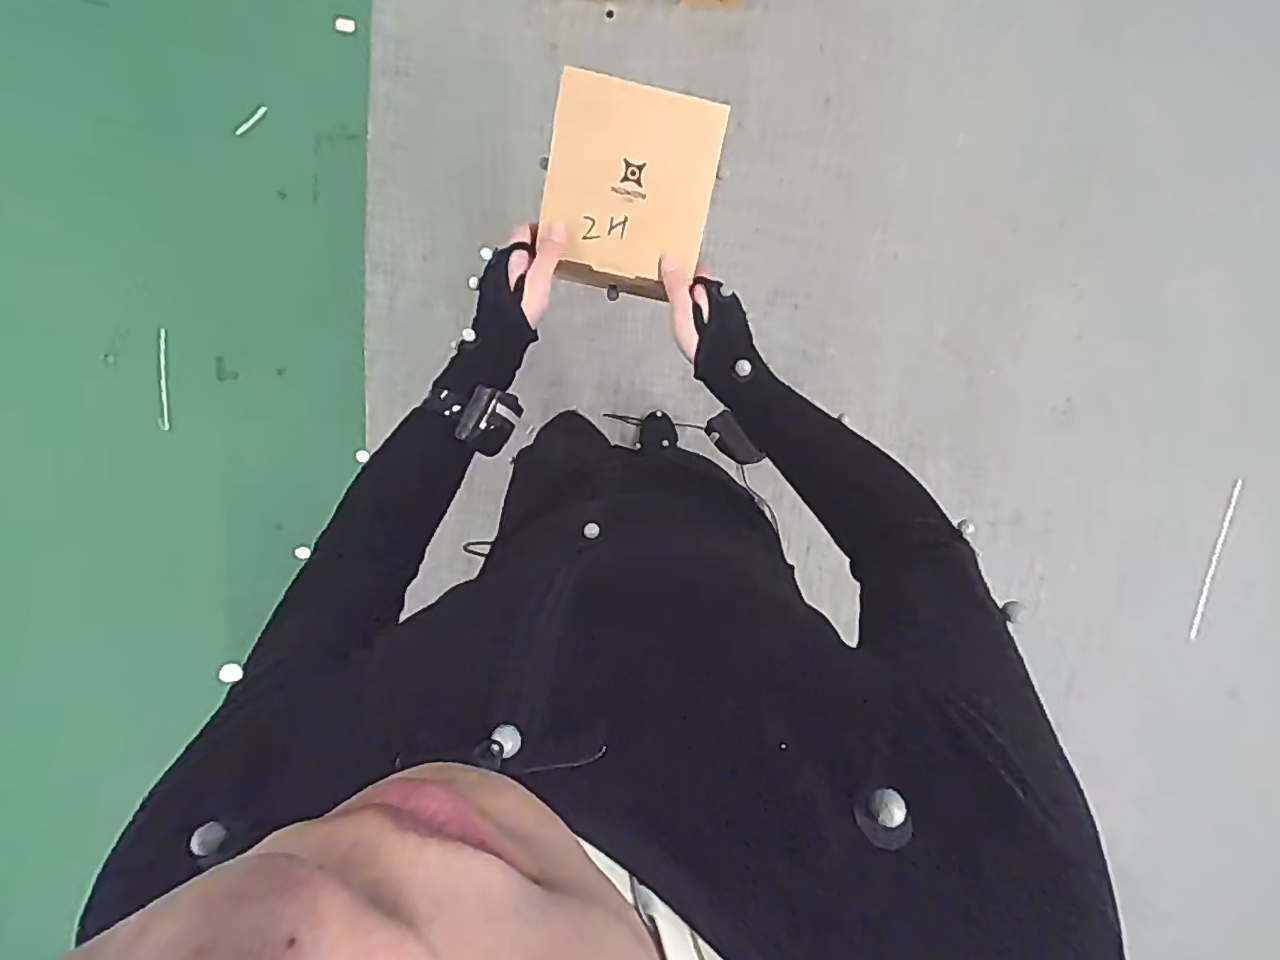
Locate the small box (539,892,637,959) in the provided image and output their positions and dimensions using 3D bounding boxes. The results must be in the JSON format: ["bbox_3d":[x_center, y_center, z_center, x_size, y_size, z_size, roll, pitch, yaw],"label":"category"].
[{"bbox_3d":[-0.098,0.914,0.991,0.168,0.176,0.179,6,101,4],"label":"small box"}]

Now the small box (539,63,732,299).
[{"bbox_3d":[-0.008,-0.319,0.617,0.168,0.176,0.179,12,103,-3],"label":"small box"}]

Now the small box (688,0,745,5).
[{"bbox_3d":[0.190,-1.289,1.285,0.168,0.176,0.179,6,102,5],"label":"small box"}]

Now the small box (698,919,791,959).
[{"bbox_3d":[0.186,0.935,0.963,0.168,0.176,0.179,3,103,5],"label":"small box"}]
